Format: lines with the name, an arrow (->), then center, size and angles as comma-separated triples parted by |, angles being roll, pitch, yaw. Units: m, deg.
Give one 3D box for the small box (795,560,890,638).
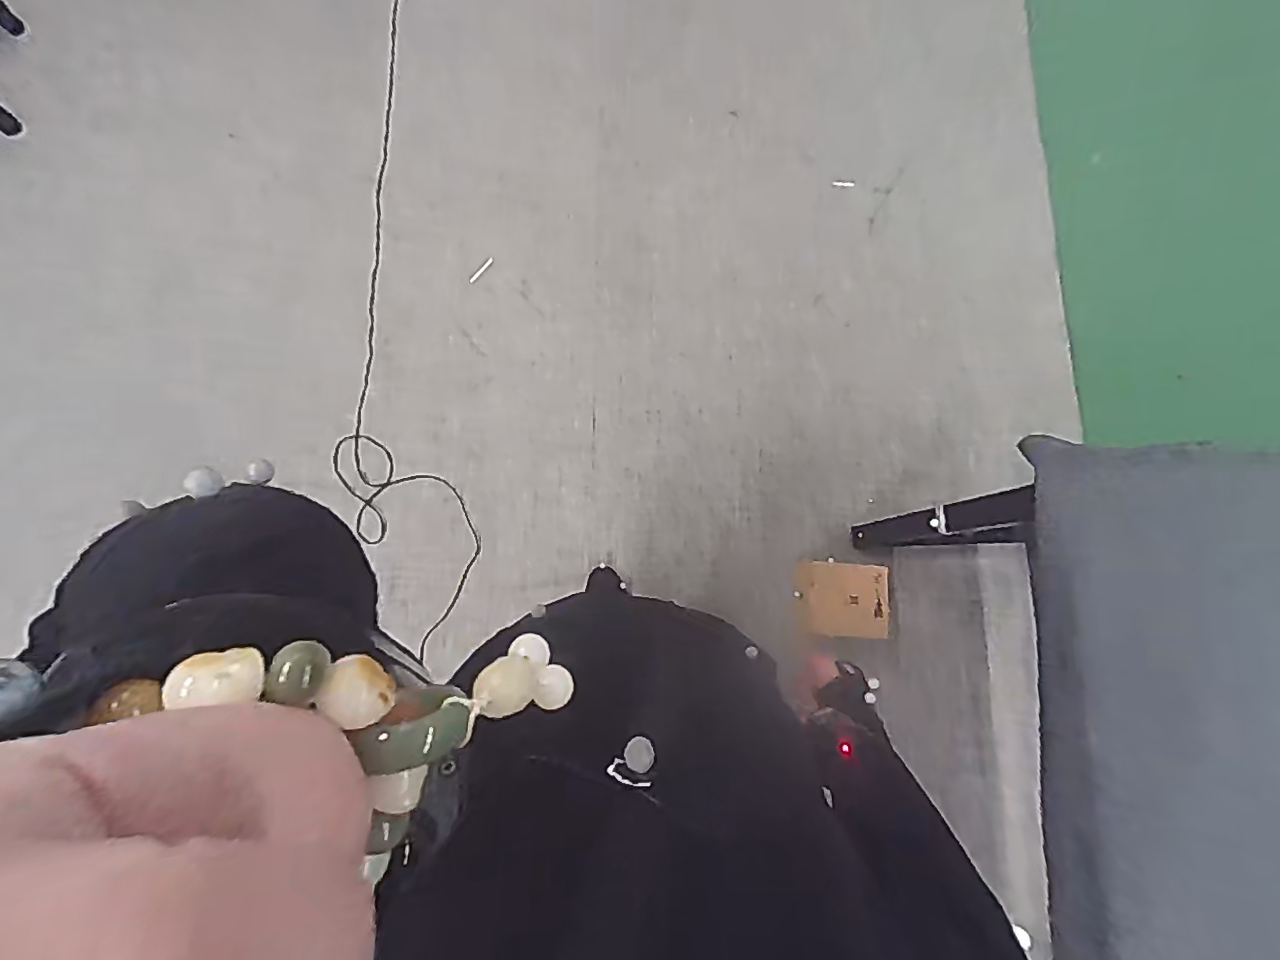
small box -> 0.485, 0.287, 1.316 | 0.179, 0.176, 0.168 | 4, 80, 0
